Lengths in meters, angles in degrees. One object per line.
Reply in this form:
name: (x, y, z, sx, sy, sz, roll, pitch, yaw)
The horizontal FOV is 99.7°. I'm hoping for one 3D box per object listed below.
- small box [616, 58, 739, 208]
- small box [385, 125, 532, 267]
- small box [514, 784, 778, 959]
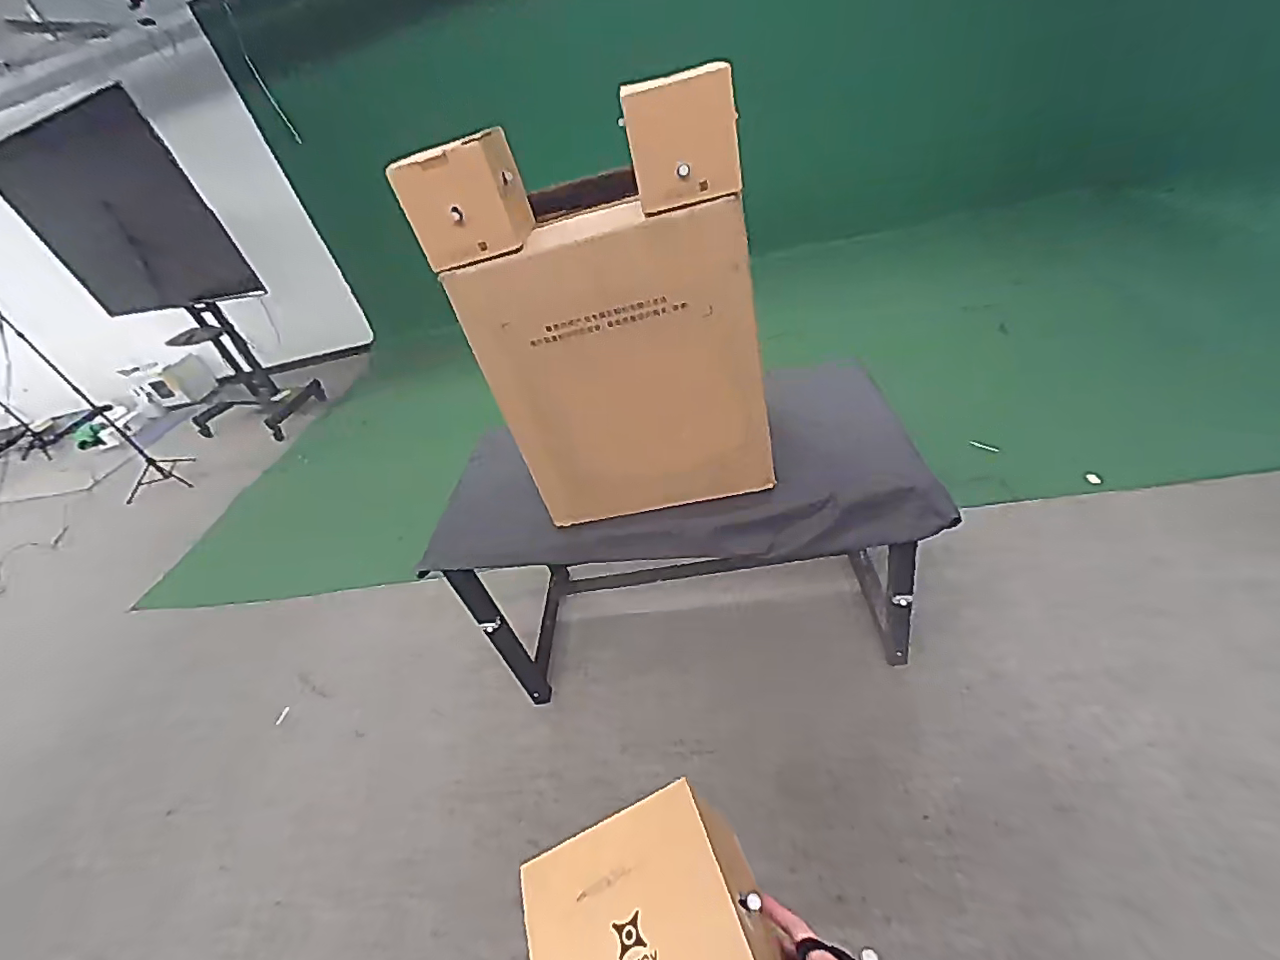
small box: (0.064, -0.565, 0.886, 0.168, 0.176, 0.179, -11, 39, 9)
small box: (-0.304, -0.492, 0.950, 0.168, 0.176, 0.179, -12, 38, 10)
small box: (0.017, 0.401, 0.450, 0.168, 0.176, 0.179, -28, 37, -1)
